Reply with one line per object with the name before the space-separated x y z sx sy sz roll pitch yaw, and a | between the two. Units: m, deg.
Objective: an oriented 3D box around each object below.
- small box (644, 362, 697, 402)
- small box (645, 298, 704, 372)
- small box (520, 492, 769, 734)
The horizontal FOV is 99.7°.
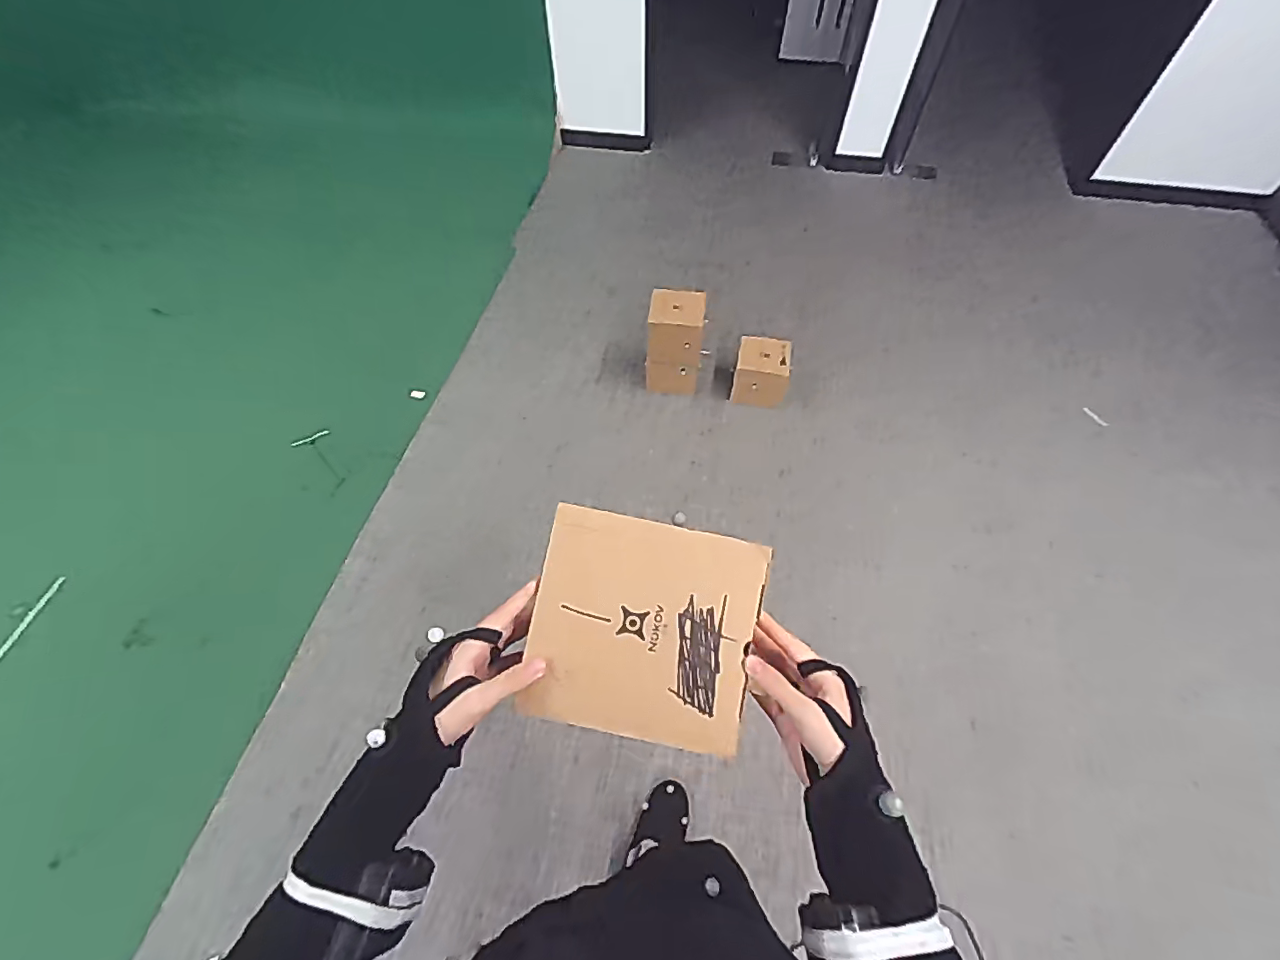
small box | 0.112 -0.397 1.943 0.179 0.176 0.168 6 56 5
small box | 0.112 -0.478 1.801 0.179 0.176 0.168 6 56 5
small box | 0.007 0.114 0.514 0.179 0.176 0.168 11 83 3
